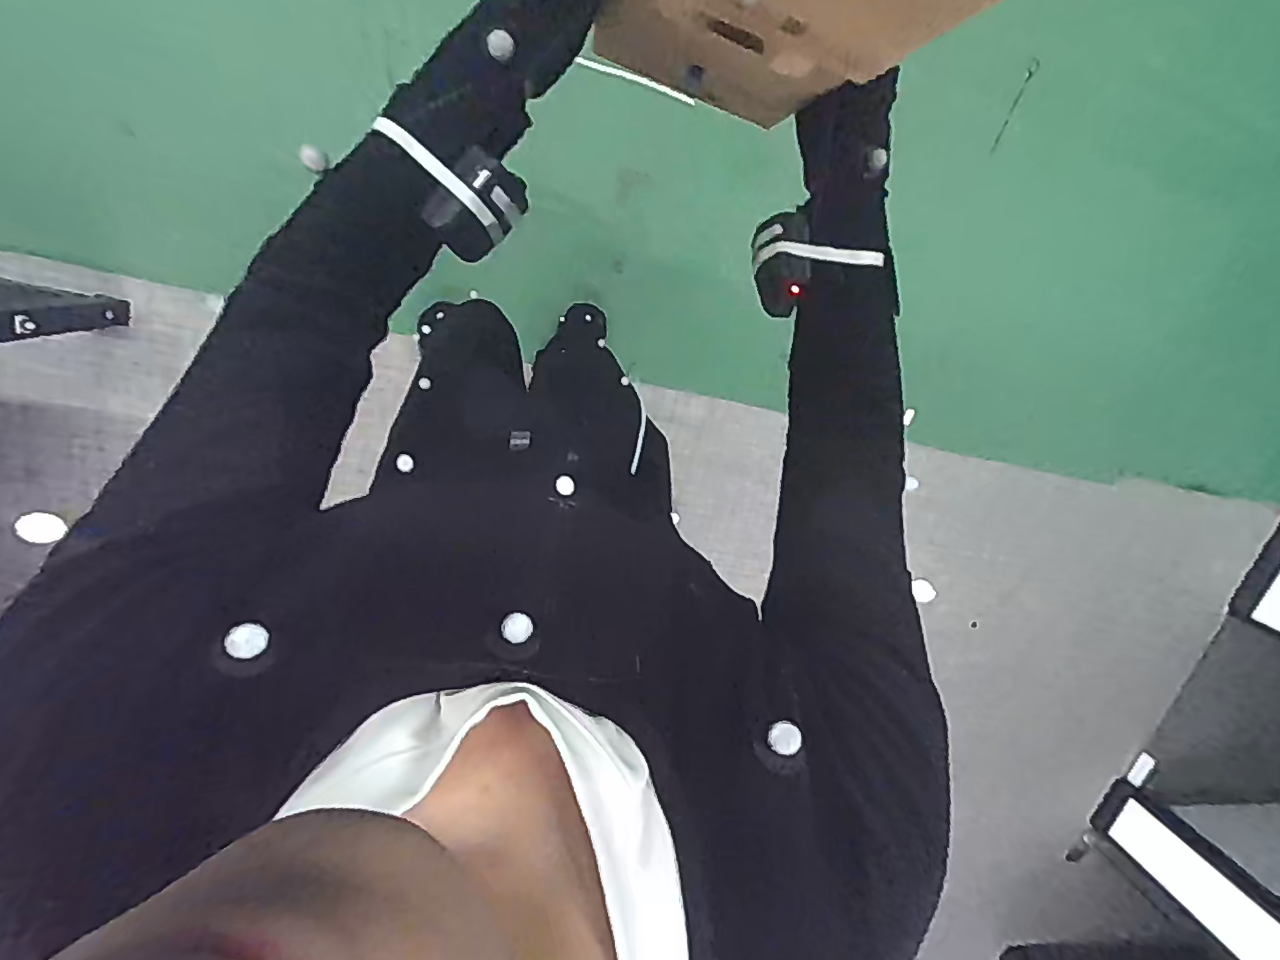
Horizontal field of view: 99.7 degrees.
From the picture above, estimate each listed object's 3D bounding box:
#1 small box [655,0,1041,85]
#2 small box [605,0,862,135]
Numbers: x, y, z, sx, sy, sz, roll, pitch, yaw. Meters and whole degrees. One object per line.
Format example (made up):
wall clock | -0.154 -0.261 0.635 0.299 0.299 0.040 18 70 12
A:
small box | 0.101 -0.308 0.220 0.168 0.176 0.179 12 110 -14
small box | 0.080 -0.374 0.368 0.168 0.176 0.179 15 109 -14
